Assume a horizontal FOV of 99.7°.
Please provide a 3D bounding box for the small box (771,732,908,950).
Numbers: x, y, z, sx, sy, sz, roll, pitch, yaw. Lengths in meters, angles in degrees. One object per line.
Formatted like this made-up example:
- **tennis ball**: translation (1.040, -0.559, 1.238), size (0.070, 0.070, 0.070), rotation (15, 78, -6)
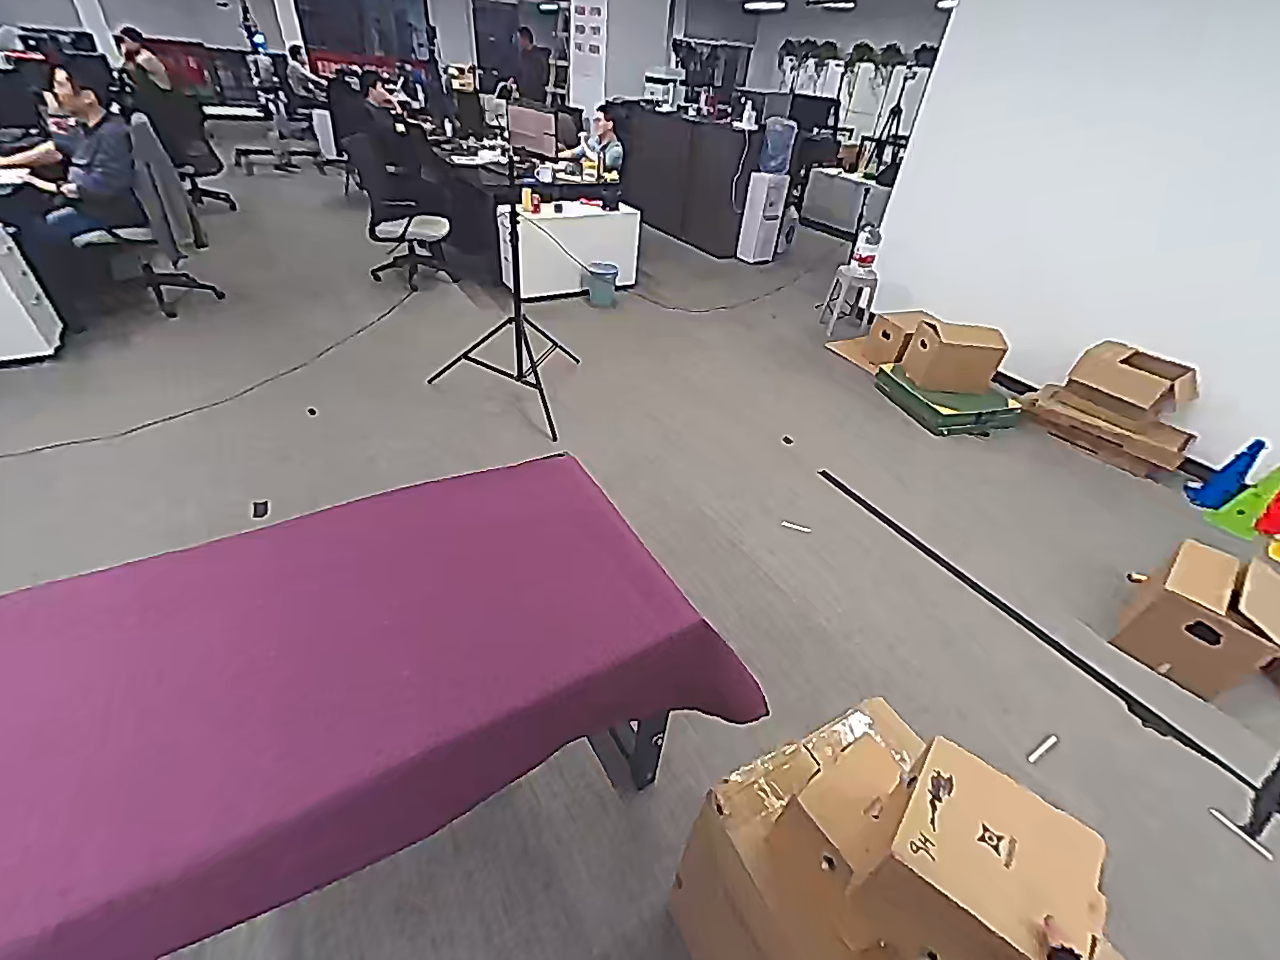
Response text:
- **small box**: translation (0.315, 0.511, 0.772), size (0.168, 0.176, 0.179), rotation (-21, 46, -29)

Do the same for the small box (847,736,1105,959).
- **small box**: translation (0.363, 0.438, 0.604), size (0.179, 0.176, 0.168), rotation (29, 44, 29)
